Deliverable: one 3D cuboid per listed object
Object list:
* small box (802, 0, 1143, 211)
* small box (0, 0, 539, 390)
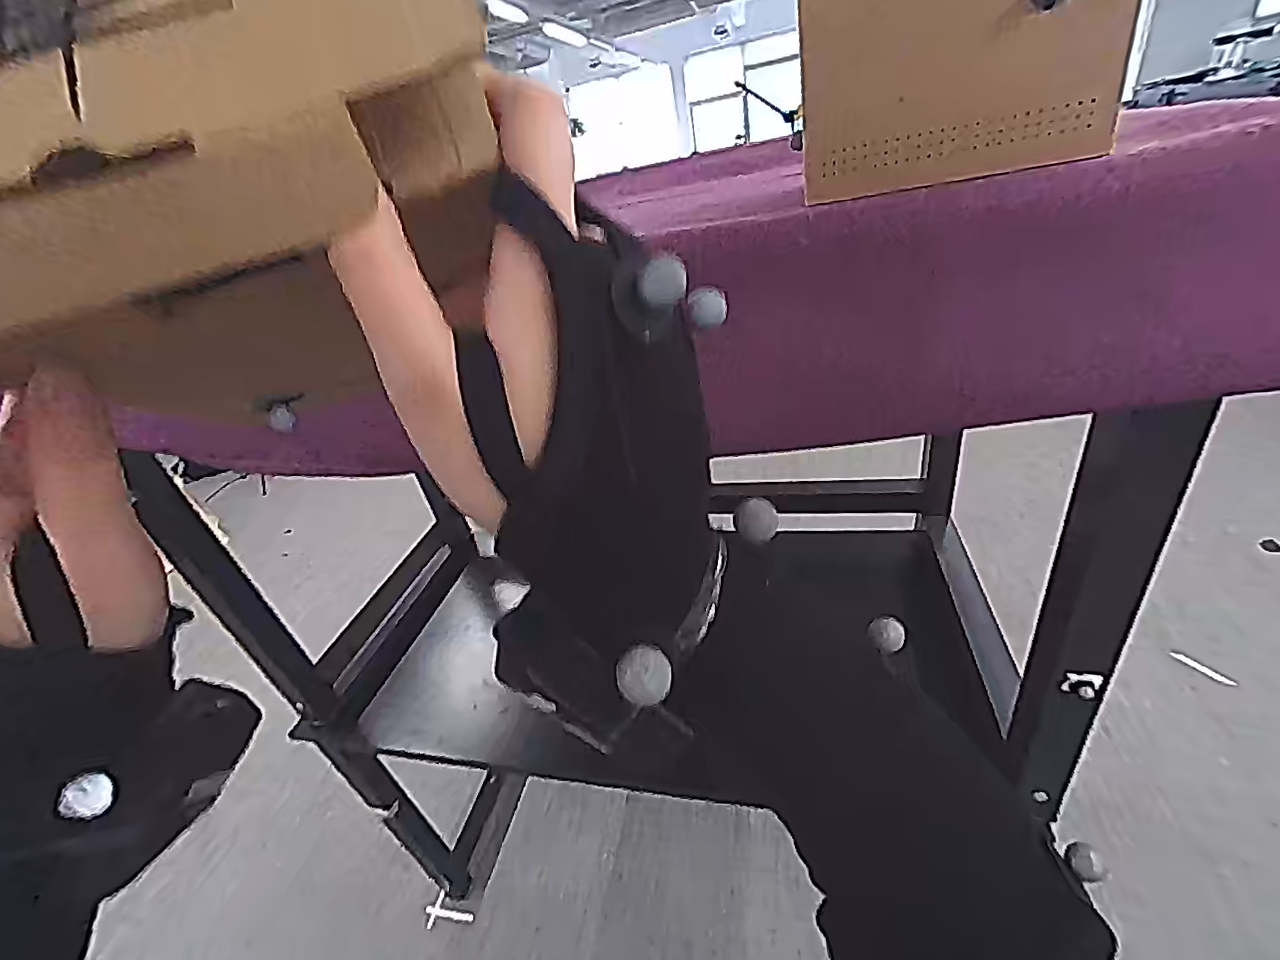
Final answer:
[{"bbox_3d":[0.208,-0.298,0.367,0.179,0.176,0.168,0,32,22],"label":"small box"},{"bbox_3d":[-0.142,-0.141,0.198,0.168,0.179,0.176,-17,0,-7],"label":"small box"}]
